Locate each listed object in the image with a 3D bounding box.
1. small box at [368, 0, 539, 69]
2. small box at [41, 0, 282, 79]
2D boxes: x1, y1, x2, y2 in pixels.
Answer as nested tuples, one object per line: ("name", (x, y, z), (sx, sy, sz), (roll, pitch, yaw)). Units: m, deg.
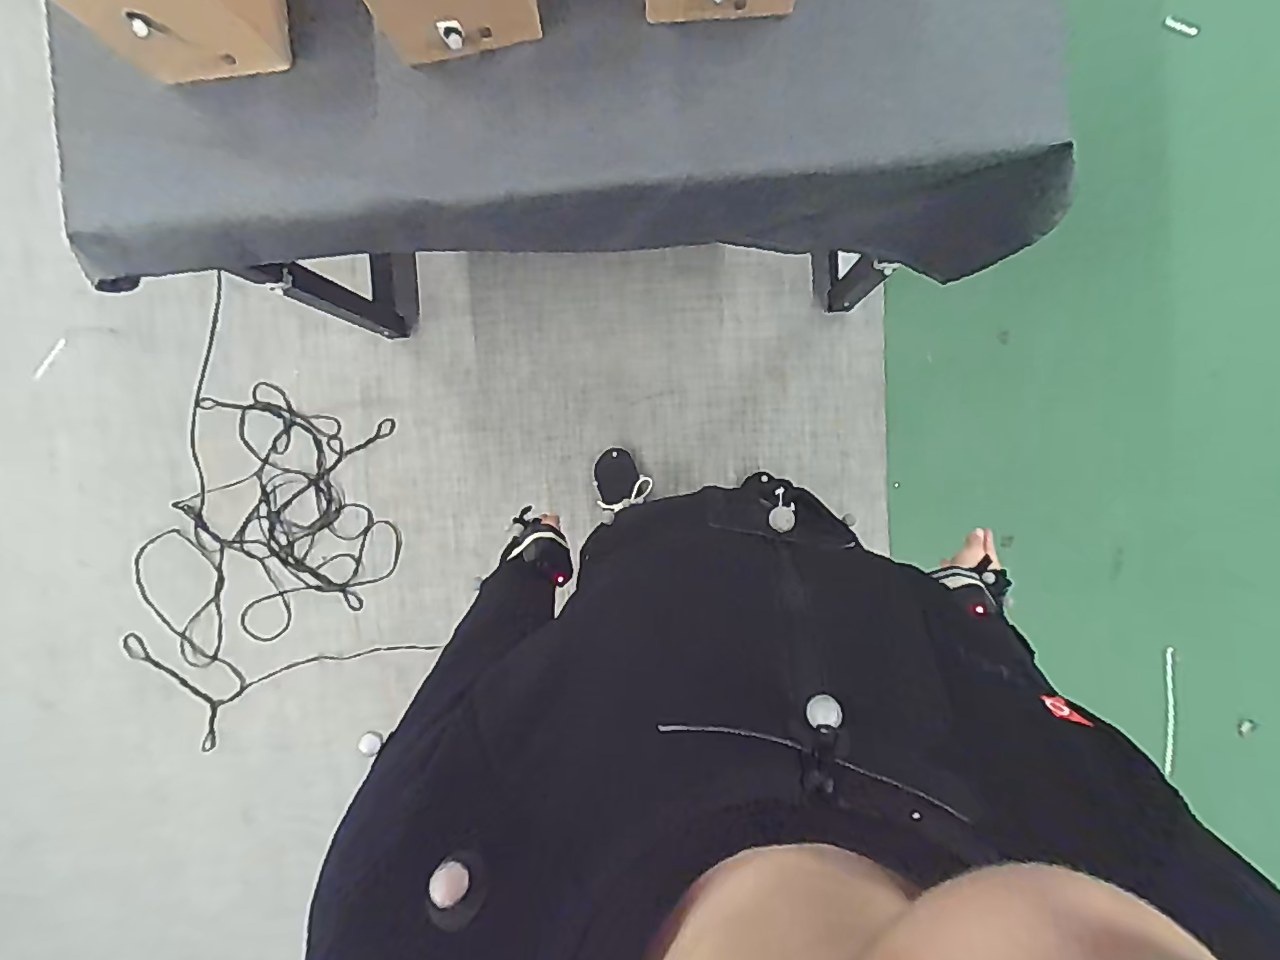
("small box", (-0.215, -0.579, 0.553), (0.168, 0.176, 0.179), (-10, 92, 5))
("small box", (-0.514, -0.564, 0.571), (0.168, 0.176, 0.179), (-4, 90, 4))
